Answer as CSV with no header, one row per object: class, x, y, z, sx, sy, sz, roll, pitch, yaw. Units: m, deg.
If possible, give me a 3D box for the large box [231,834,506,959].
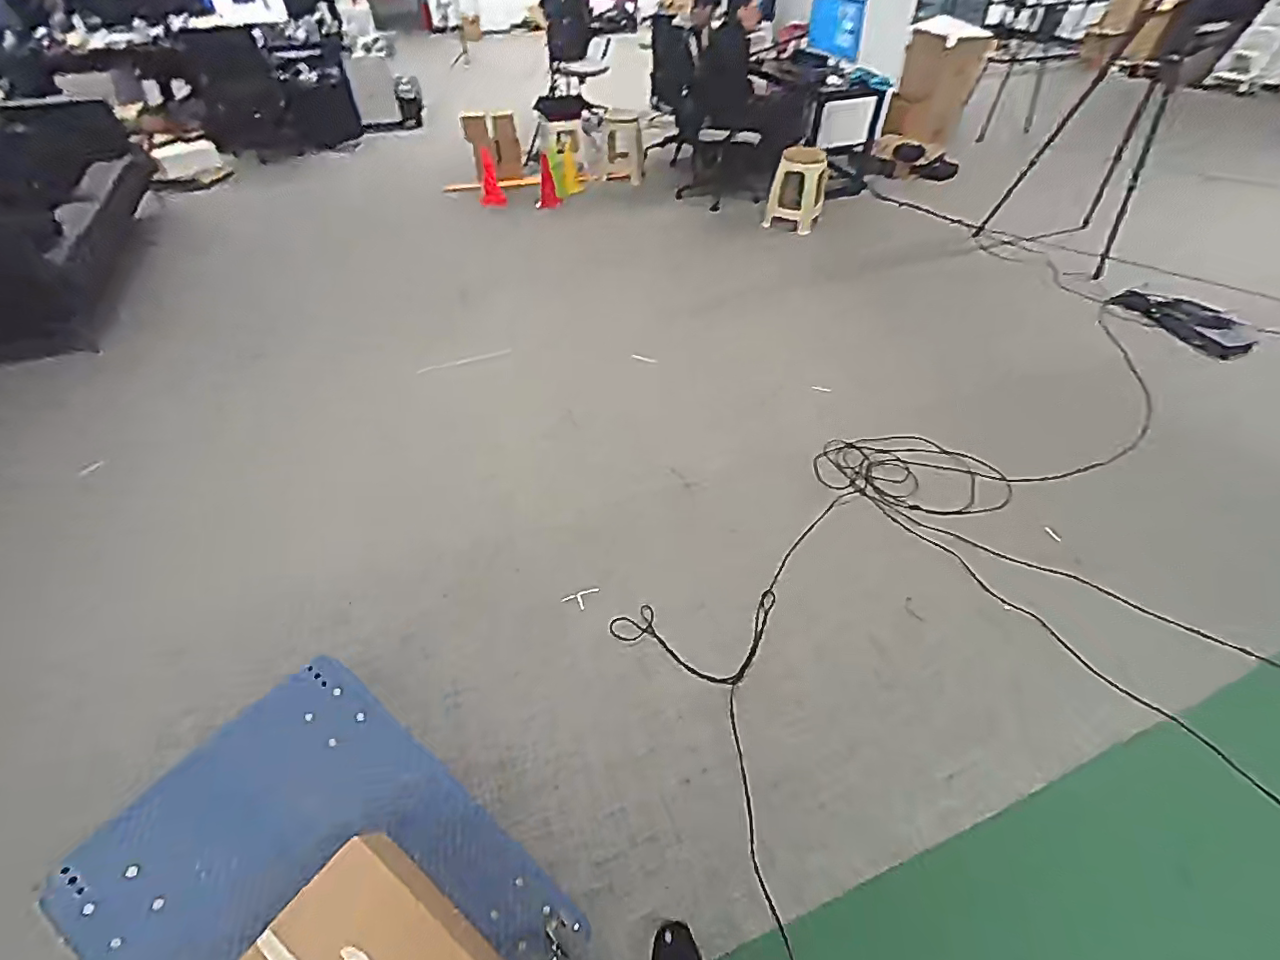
large box,-0.447,0.867,0.890,0.408,0.320,0.320,38,56,10
